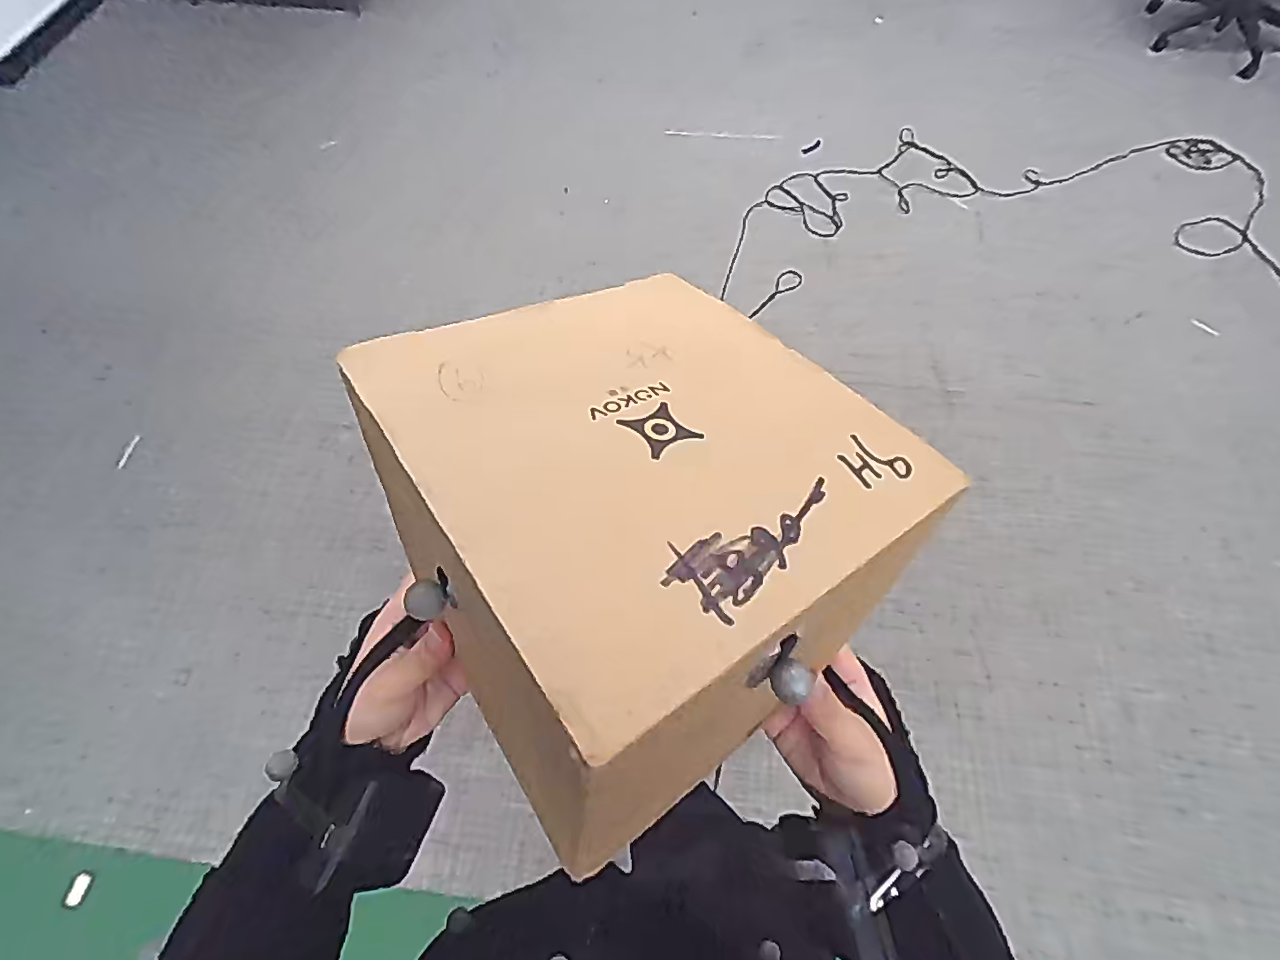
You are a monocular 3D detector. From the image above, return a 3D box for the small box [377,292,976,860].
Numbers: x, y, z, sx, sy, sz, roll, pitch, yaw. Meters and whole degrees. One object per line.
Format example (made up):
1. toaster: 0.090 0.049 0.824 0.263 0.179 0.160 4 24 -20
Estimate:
1. small box: 0.002 0.038 0.263 0.168 0.176 0.179 -27 55 -28
